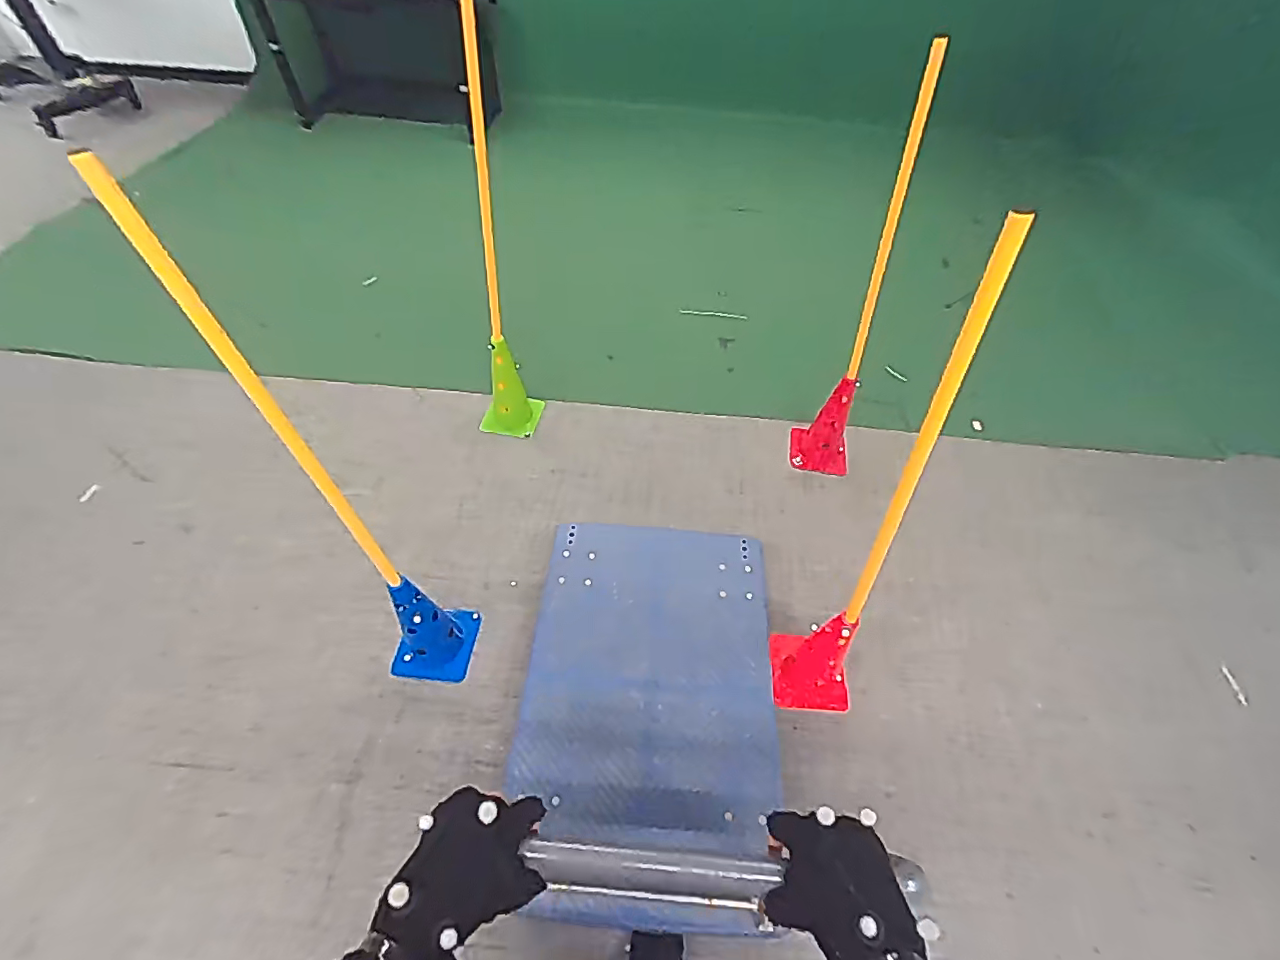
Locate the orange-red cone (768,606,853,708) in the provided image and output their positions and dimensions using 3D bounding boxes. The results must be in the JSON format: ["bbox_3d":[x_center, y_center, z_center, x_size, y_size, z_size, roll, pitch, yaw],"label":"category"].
[{"bbox_3d":[0.454,0.410,1.346,0.199,0.360,0.198,4,51,3],"label":"orange-red cone"}]

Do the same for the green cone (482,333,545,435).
[{"bbox_3d":[-0.468,-0.358,1.896,0.202,0.368,0.200,9,51,5],"label":"green cone"}]
